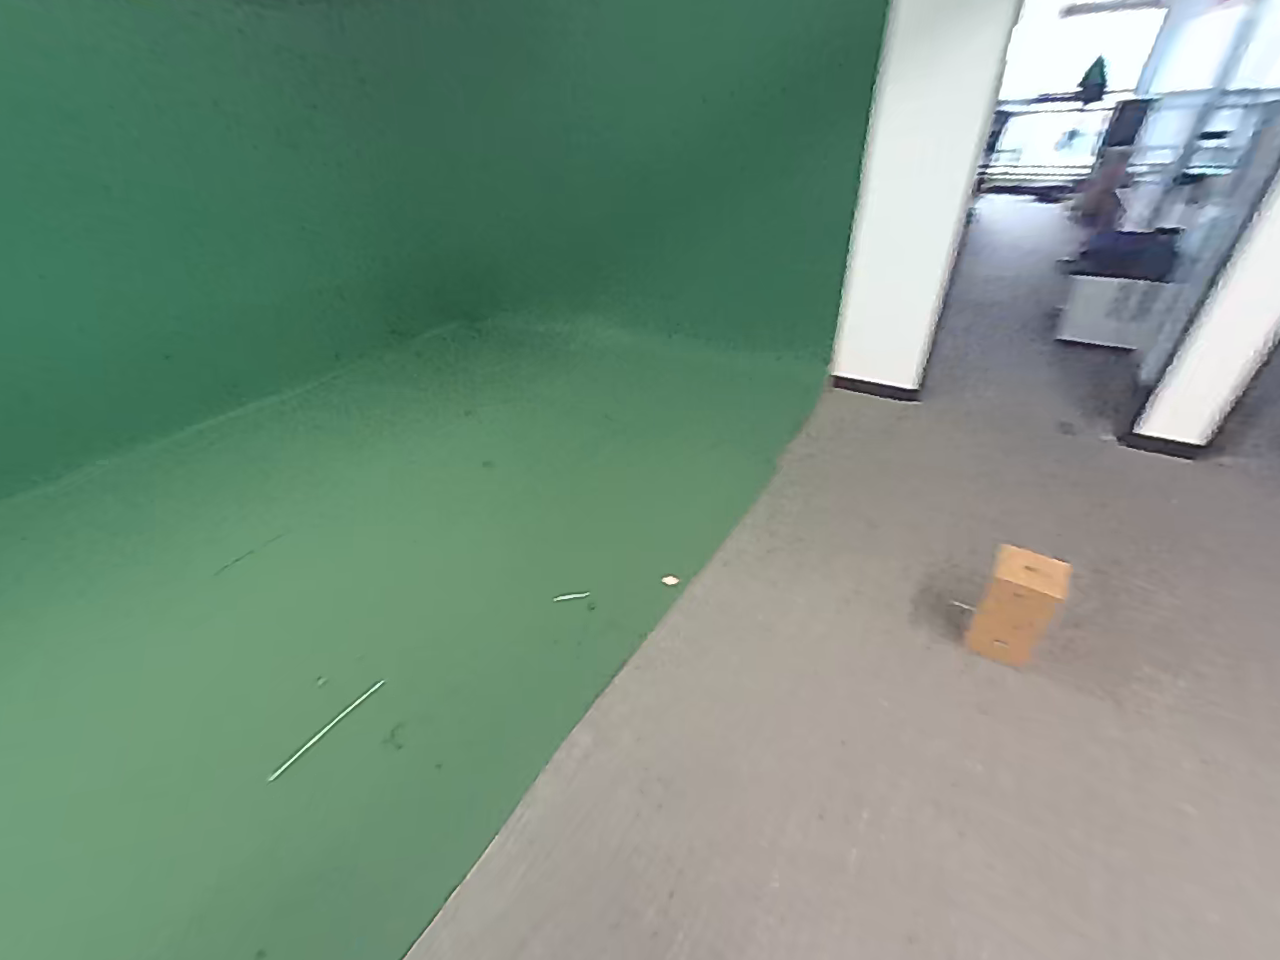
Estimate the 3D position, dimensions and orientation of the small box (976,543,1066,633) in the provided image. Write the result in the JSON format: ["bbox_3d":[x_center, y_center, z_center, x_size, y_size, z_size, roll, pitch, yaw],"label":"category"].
[{"bbox_3d":[1.137,0.326,1.621,0.179,0.176,0.168,21,44,31],"label":"small box"}]
